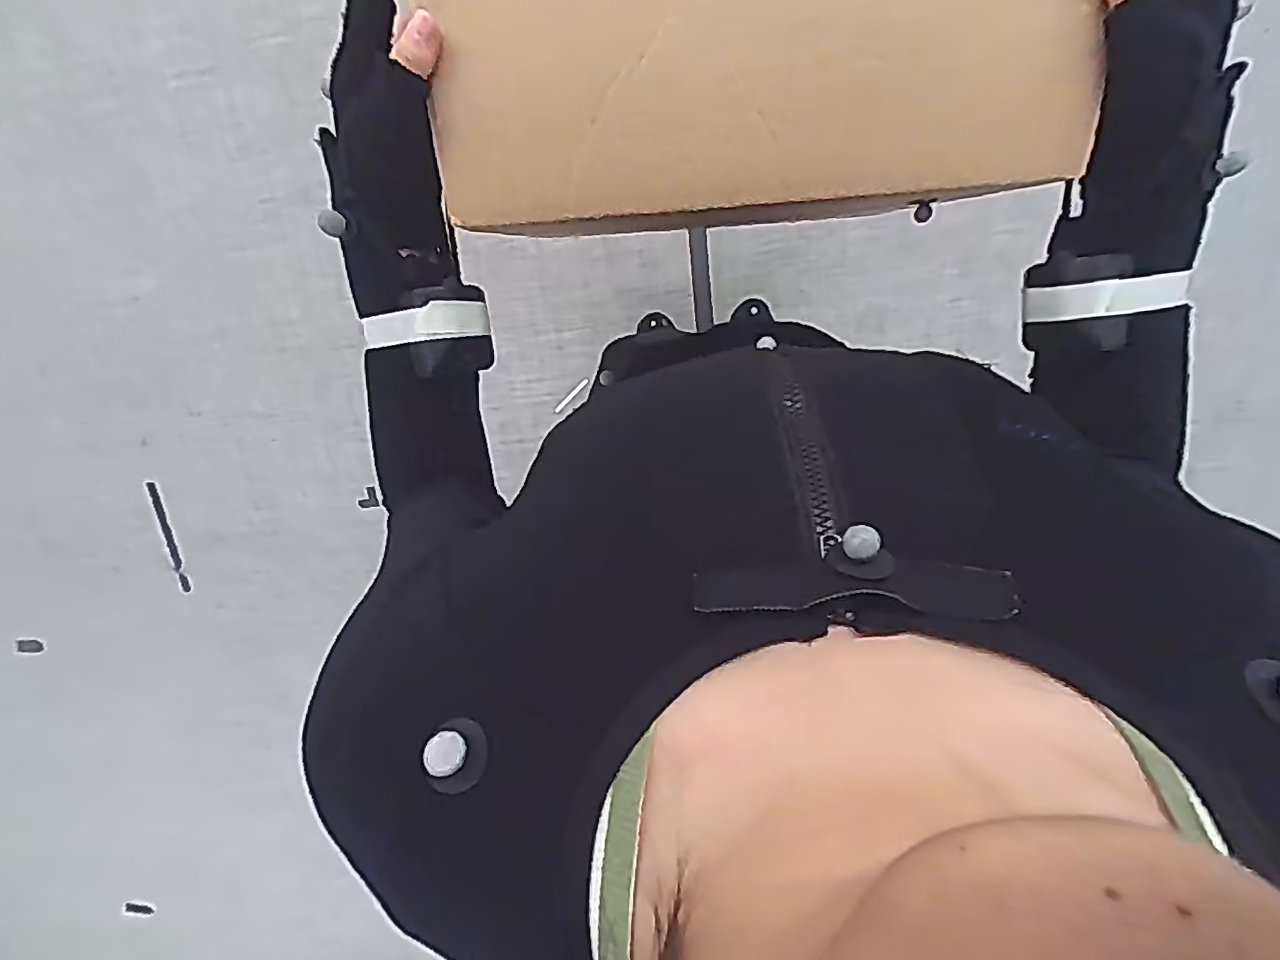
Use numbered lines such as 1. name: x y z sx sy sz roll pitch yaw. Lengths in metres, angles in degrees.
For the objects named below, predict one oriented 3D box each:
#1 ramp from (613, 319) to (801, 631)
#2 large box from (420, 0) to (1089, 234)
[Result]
1. ramp: 0.236 0.051 1.621 0.509 0.206 0.991 -8 106 4
2. large box: 0.068 -0.385 0.440 0.408 0.320 0.320 -3 113 3
